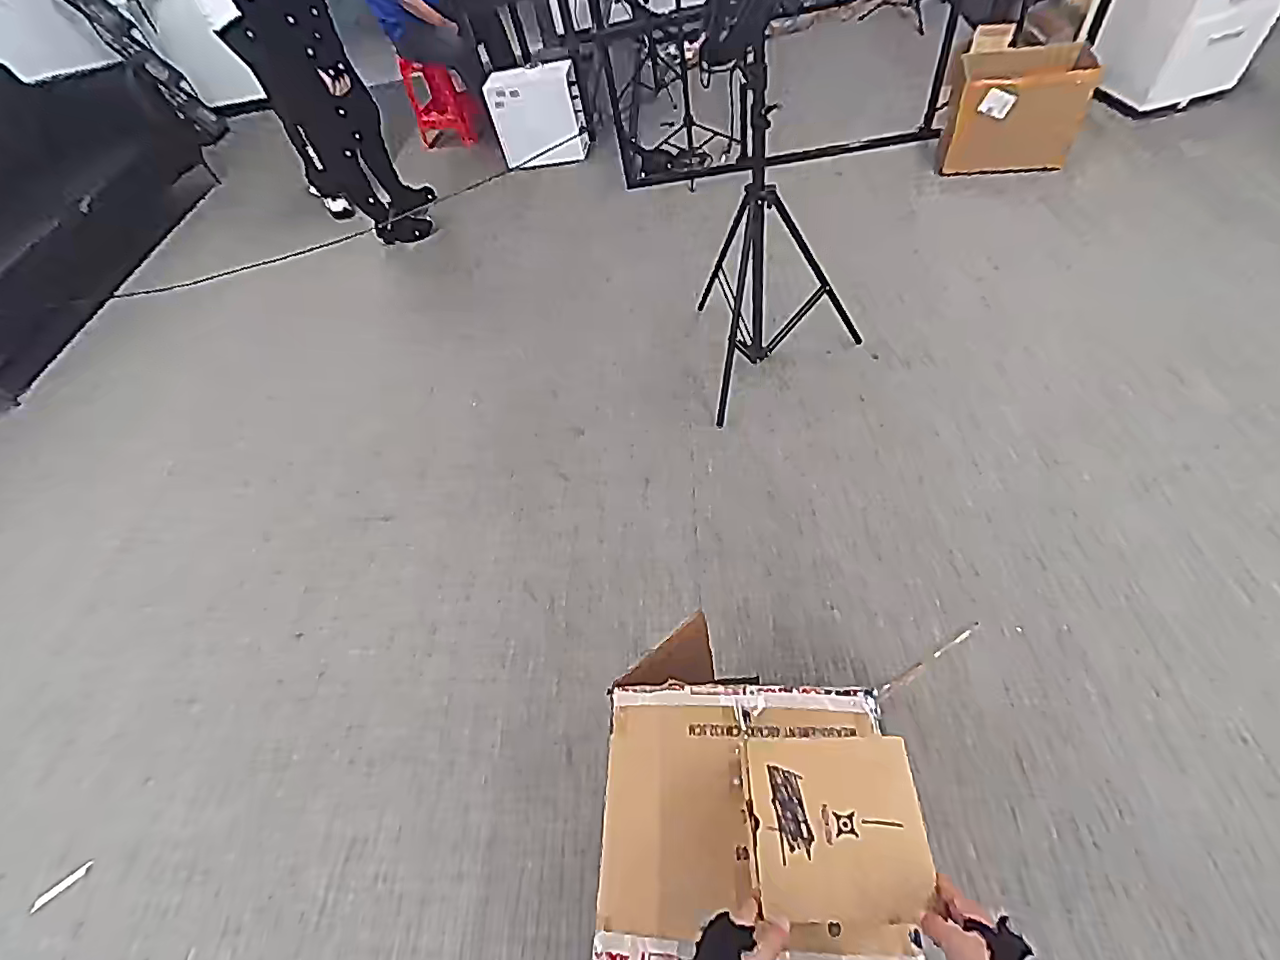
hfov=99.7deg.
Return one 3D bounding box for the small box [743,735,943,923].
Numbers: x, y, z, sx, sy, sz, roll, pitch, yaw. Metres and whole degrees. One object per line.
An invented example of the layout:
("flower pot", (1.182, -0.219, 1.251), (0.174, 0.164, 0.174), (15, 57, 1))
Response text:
("small box", (0.213, 0.402, 0.630), (0.179, 0.176, 0.168), (-3, 56, 6))
